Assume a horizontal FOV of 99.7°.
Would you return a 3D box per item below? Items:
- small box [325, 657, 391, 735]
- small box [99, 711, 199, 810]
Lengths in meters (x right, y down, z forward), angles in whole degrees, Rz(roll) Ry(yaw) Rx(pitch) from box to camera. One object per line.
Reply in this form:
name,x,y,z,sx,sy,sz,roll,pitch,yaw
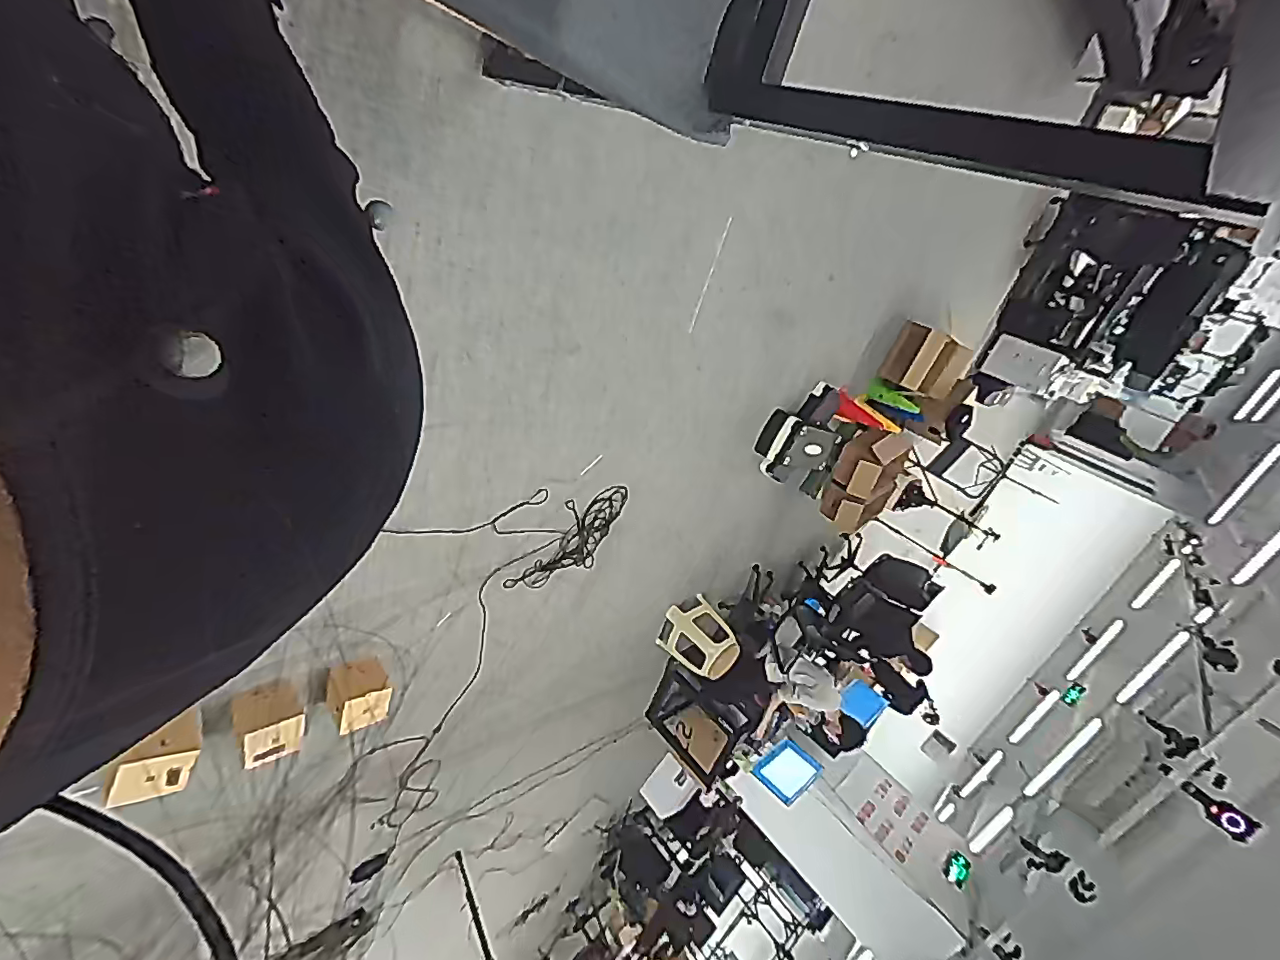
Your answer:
small box,-1.042,0.789,1.987,0.168,0.176,0.179,-7,125,-47
small box,-1.413,0.793,1.554,0.179,0.176,0.168,13,110,-52
